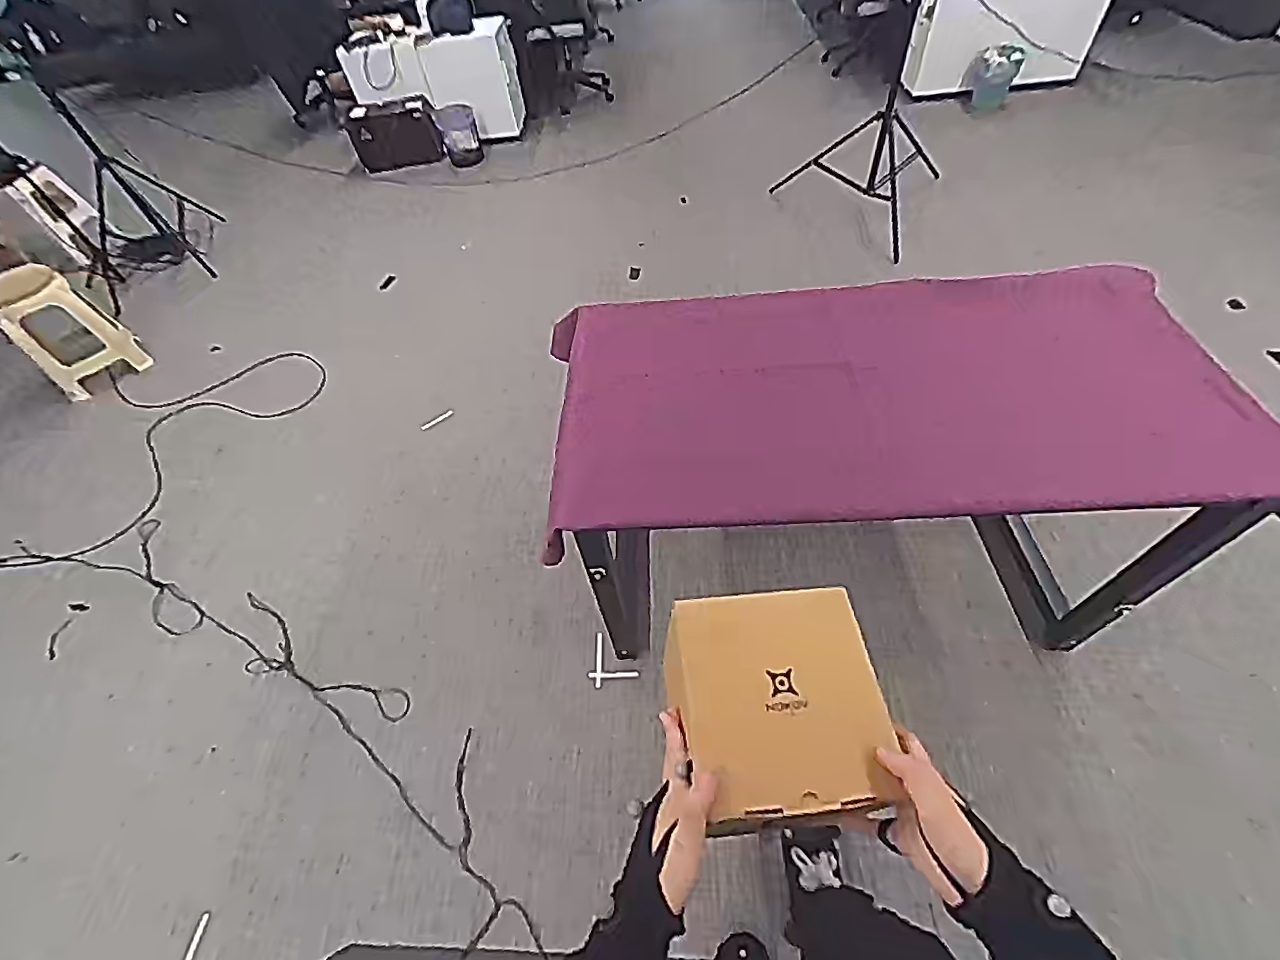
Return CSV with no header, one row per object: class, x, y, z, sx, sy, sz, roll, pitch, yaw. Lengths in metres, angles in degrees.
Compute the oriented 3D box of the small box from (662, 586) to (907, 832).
small box,0.115,0.222,0.522,0.168,0.176,0.179,-4,53,-4
